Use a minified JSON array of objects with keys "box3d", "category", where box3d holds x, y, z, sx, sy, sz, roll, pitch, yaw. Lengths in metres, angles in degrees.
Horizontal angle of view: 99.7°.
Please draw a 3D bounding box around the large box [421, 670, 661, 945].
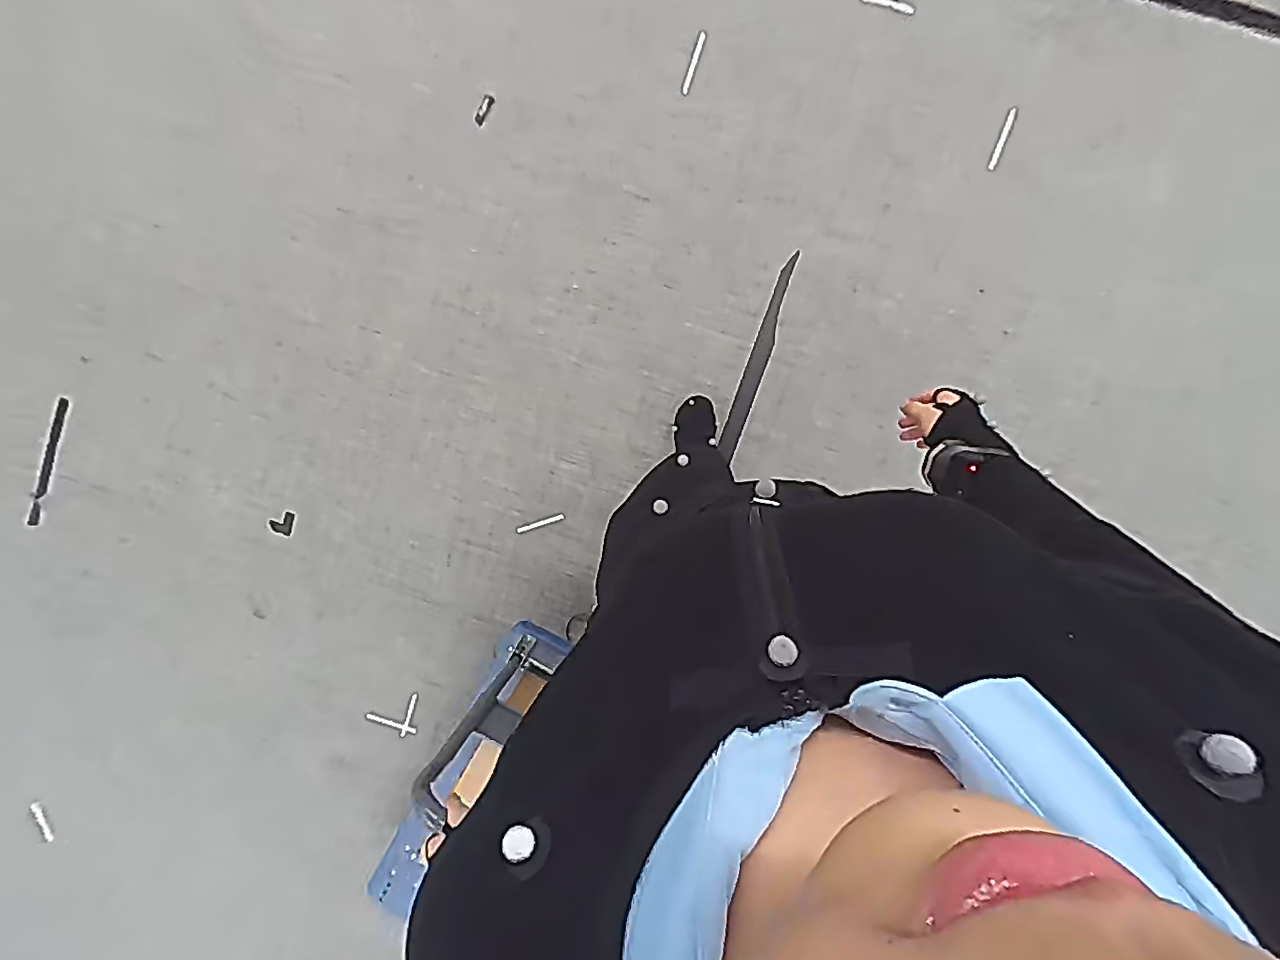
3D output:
[{"box3d":[-0.198,0.717,1.245,0.408,0.320,0.320,30,95,1],"category":"large box"}]
